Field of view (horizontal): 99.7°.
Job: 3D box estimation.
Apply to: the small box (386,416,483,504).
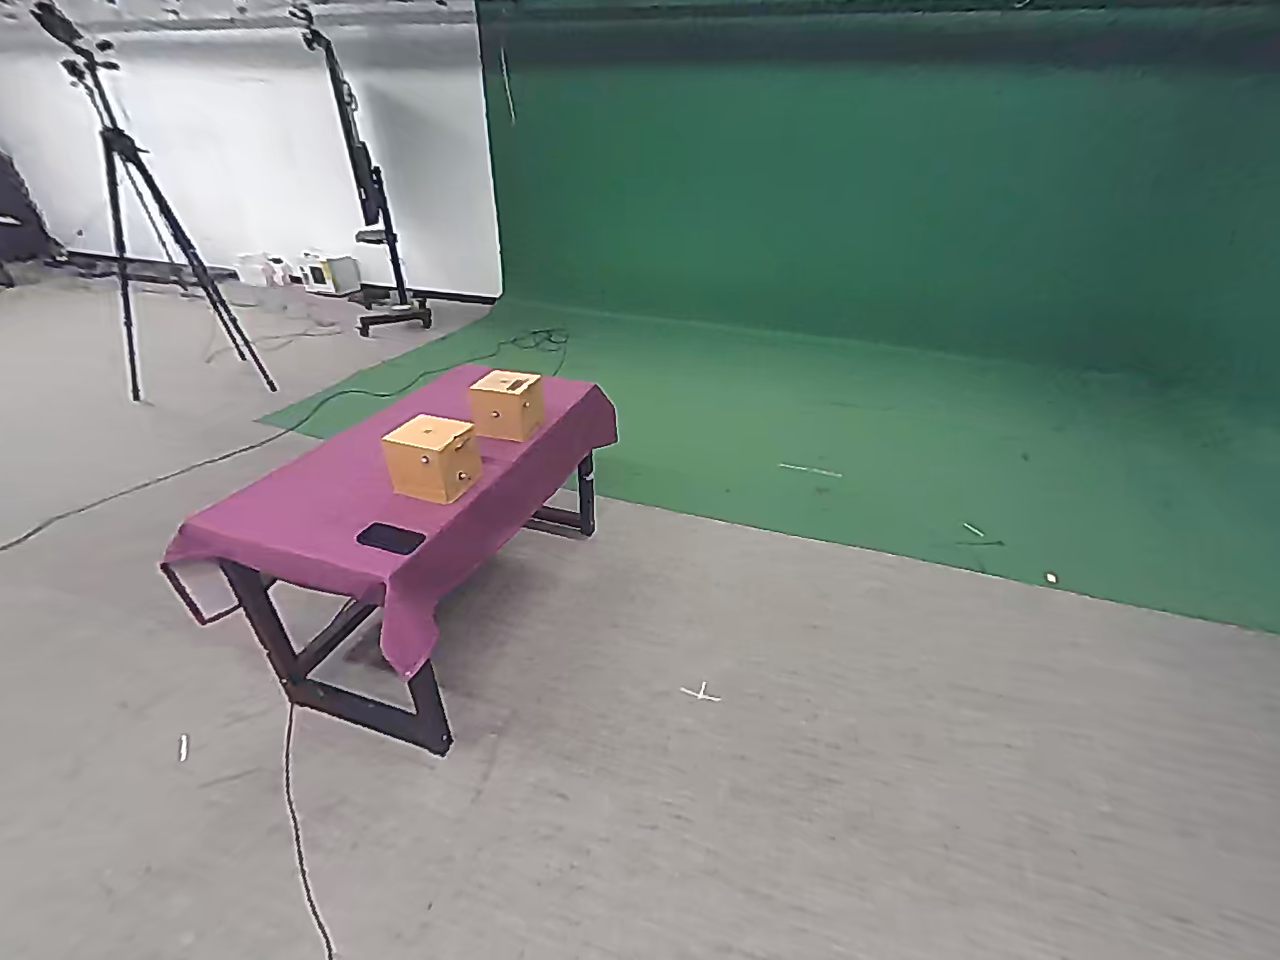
[{"bbox_3d":[-0.550,-0.054,1.467,0.179,0.176,0.168,12,33,15],"label":"small box"}]
